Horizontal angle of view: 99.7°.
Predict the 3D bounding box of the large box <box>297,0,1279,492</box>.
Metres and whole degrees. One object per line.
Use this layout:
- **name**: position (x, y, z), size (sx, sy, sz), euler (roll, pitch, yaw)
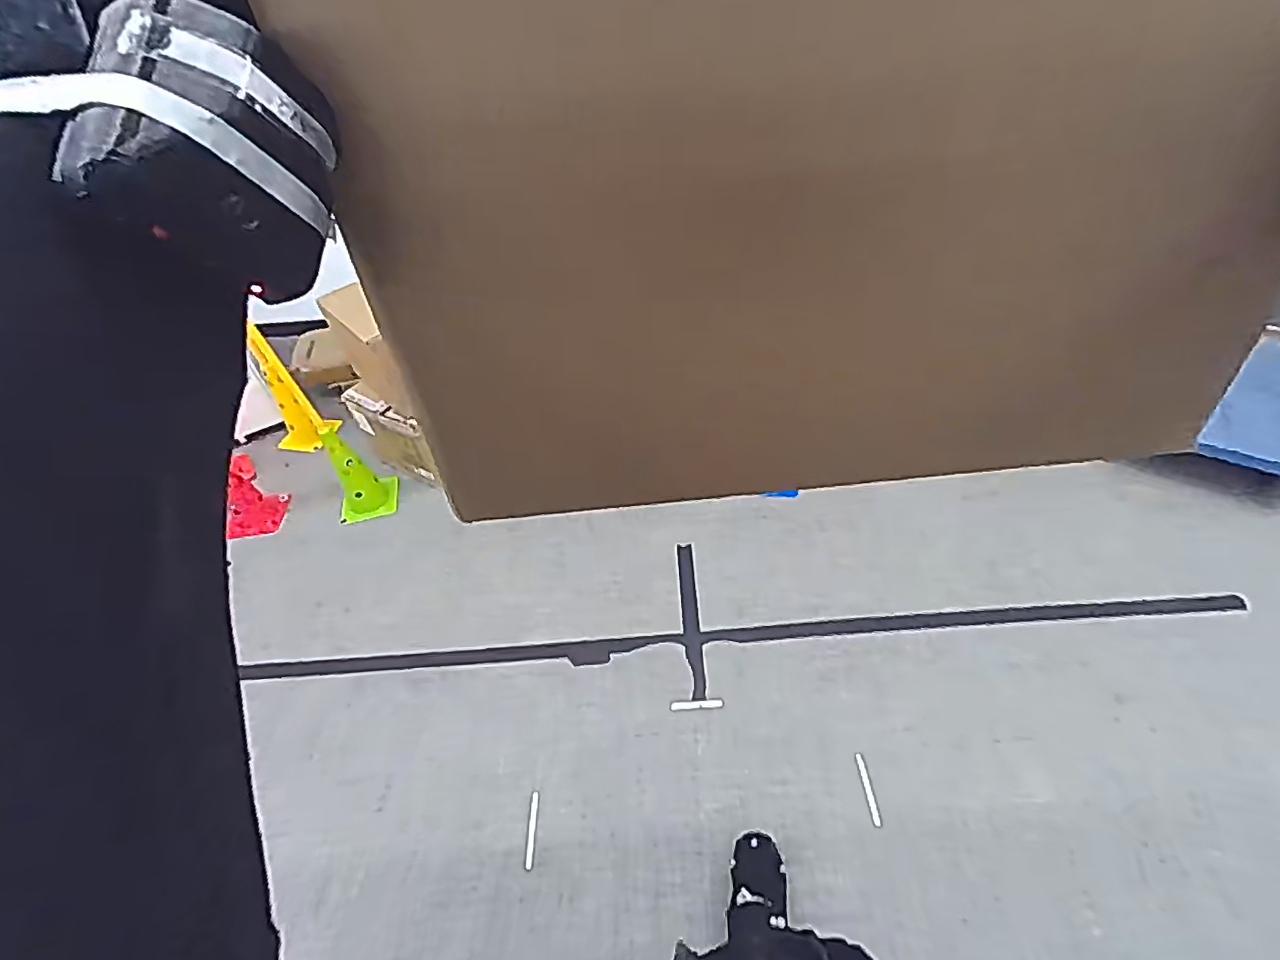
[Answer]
- **large box**: position (0.075, -0.217, 0.334), size (0.408, 0.320, 0.320), euler (-5, 37, 0)
